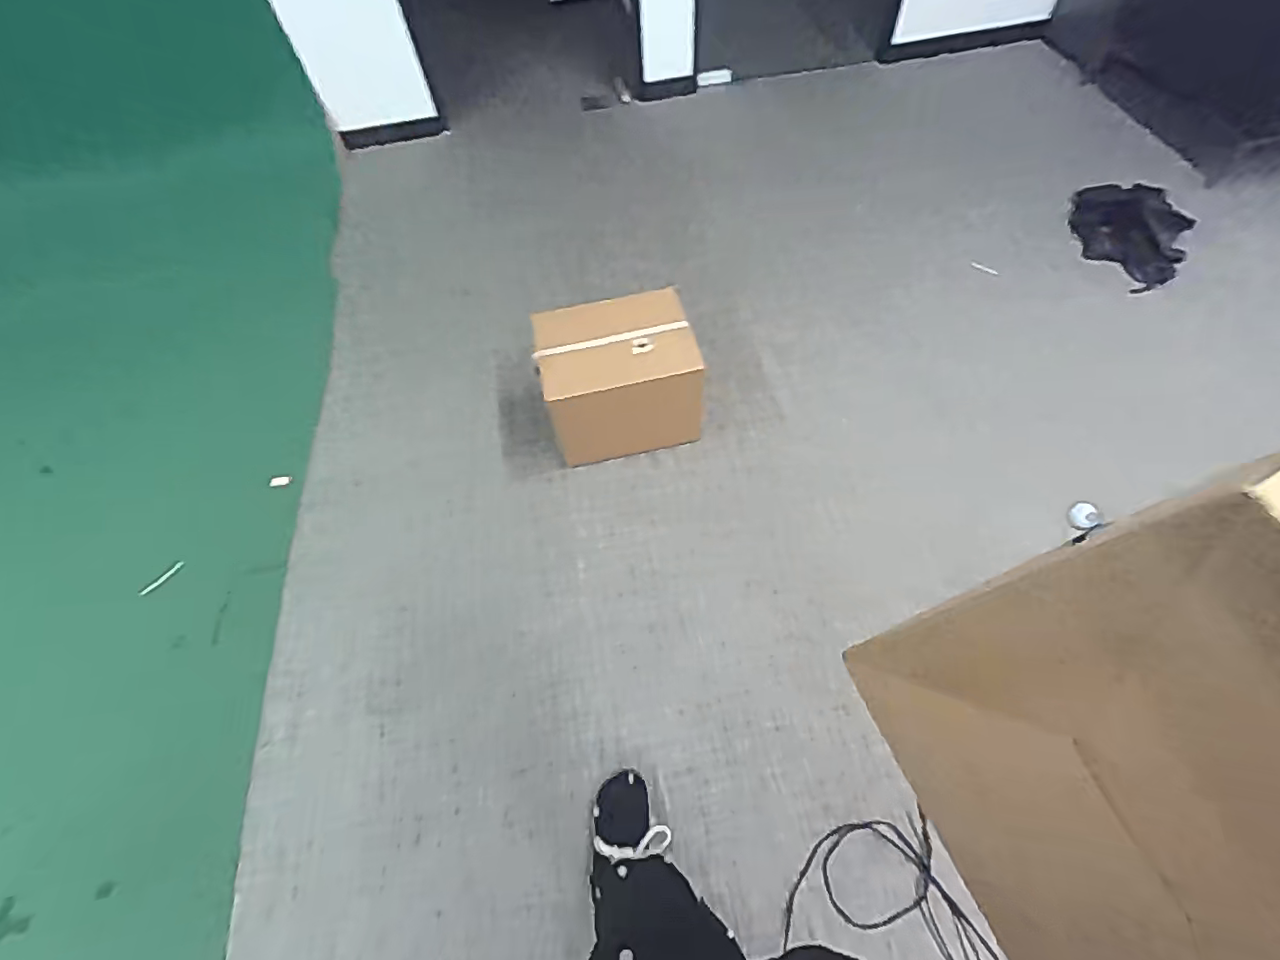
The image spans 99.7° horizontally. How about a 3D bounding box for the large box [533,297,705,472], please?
[{"bbox_3d":[-0.058,-0.262,1.528,0.408,0.320,0.320,-12,59,-5],"label":"large box"}]
